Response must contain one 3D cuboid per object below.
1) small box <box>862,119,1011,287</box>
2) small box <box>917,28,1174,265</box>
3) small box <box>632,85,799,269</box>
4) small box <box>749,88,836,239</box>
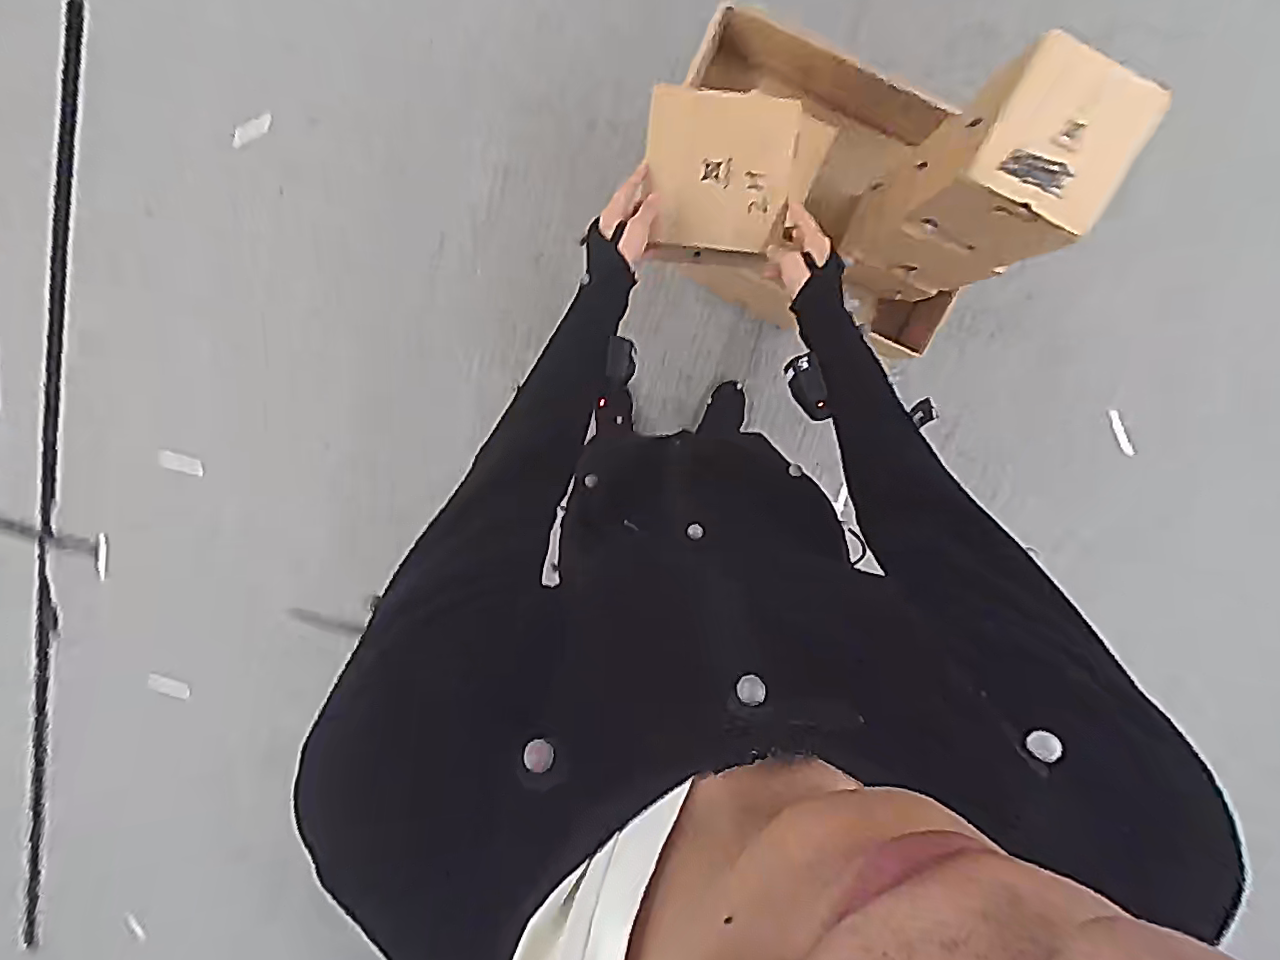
[{"bbox_3d":[0.493,-0.422,0.860,0.179,0.176,0.168,23,101,-4],"label":"small box"},{"bbox_3d":[0.493,-0.404,0.696,0.168,0.176,0.179,27,100,-3],"label":"small box"},{"bbox_3d":[0.083,-0.374,0.701,0.179,0.176,0.168,5,106,-3],"label":"small box"},{"bbox_3d":[0.231,-0.569,1.011,0.168,0.176,0.179,24,100,-3],"label":"small box"}]
